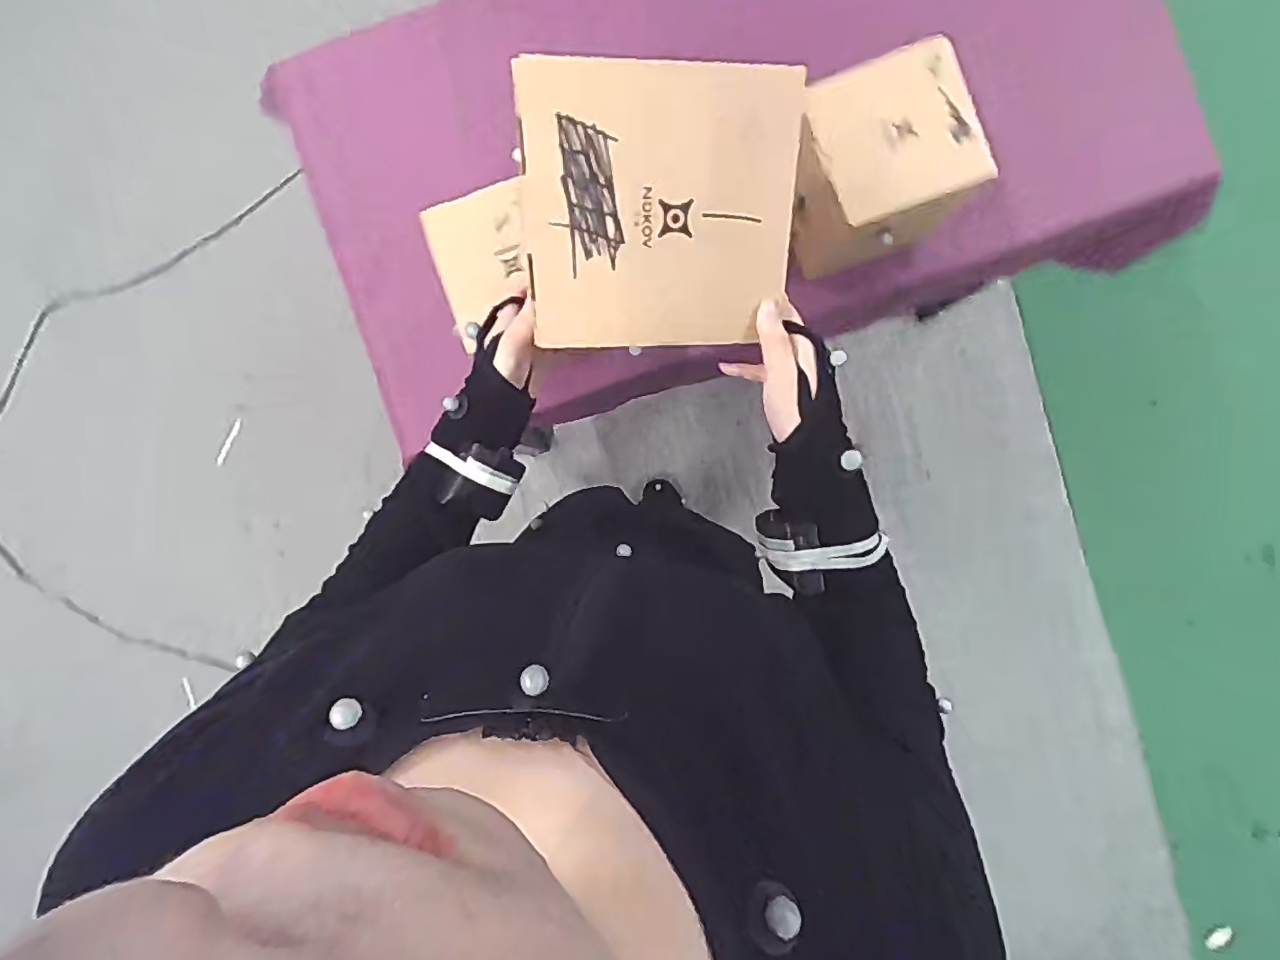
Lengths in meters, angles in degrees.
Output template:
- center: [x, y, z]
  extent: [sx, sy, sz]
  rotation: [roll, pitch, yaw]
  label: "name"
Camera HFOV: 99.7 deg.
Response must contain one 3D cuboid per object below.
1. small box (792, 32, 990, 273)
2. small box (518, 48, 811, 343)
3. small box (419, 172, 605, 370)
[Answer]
- center: [0.280, -0.387, 0.675]
  extent: [0.179, 0.176, 0.168]
  rotation: [-20, 90, 3]
  label: "small box"
- center: [0.006, -0.203, 0.419]
  extent: [0.179, 0.176, 0.168]
  rotation: [-2, 114, -7]
  label: "small box"
- center: [-0.146, -0.251, 0.692]
  extent: [0.168, 0.176, 0.179]
  rotation: [-19, 90, 1]
  label: "small box"
